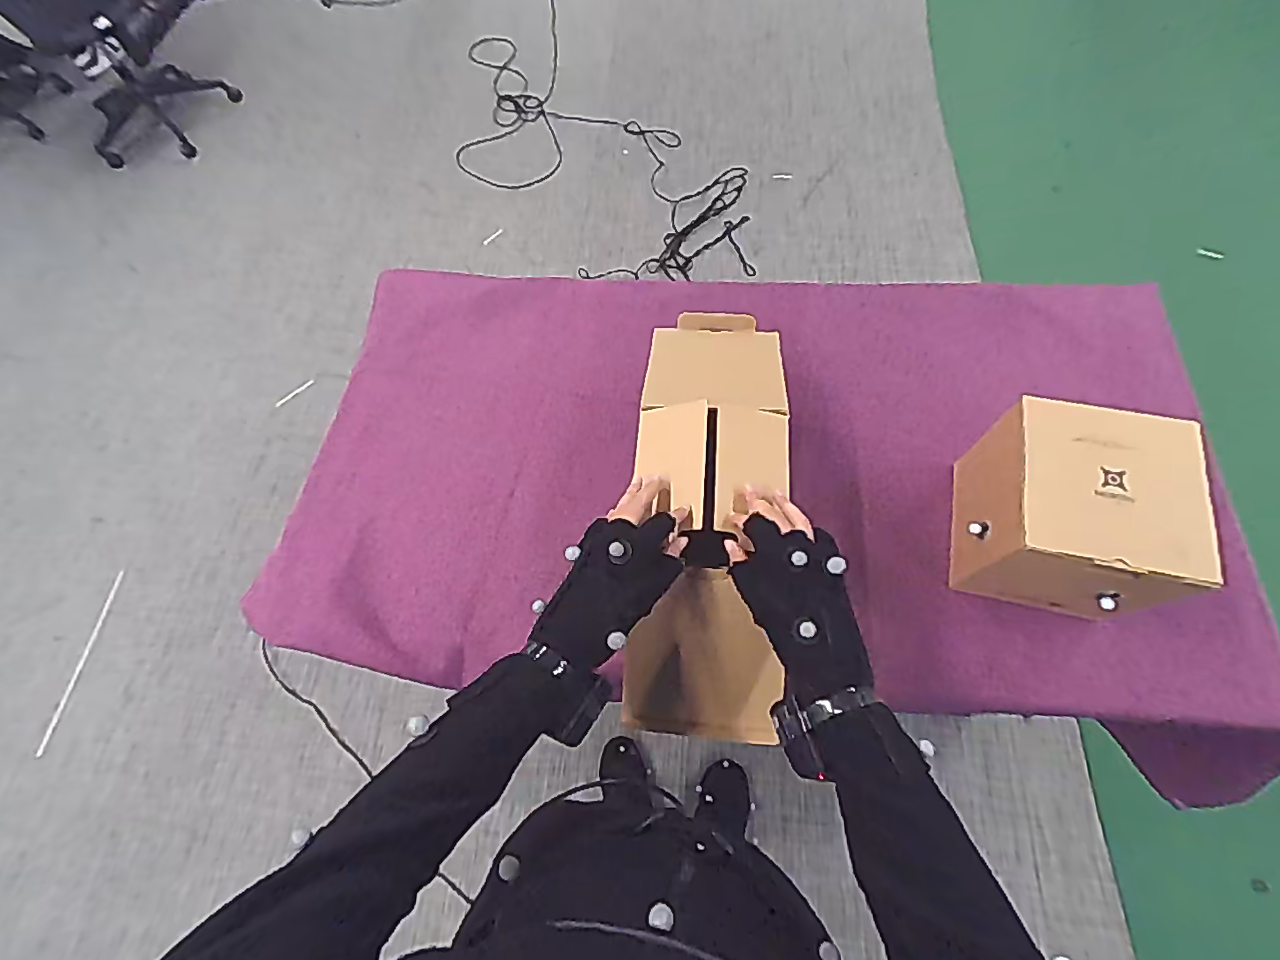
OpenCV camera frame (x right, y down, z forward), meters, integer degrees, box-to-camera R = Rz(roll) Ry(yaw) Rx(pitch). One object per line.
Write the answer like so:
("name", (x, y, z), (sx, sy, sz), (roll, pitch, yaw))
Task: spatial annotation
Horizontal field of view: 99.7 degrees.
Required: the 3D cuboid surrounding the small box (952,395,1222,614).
("small box", (0.467, 0.035, 0.597), (0.168, 0.176, 0.179), (12, 67, 11))
